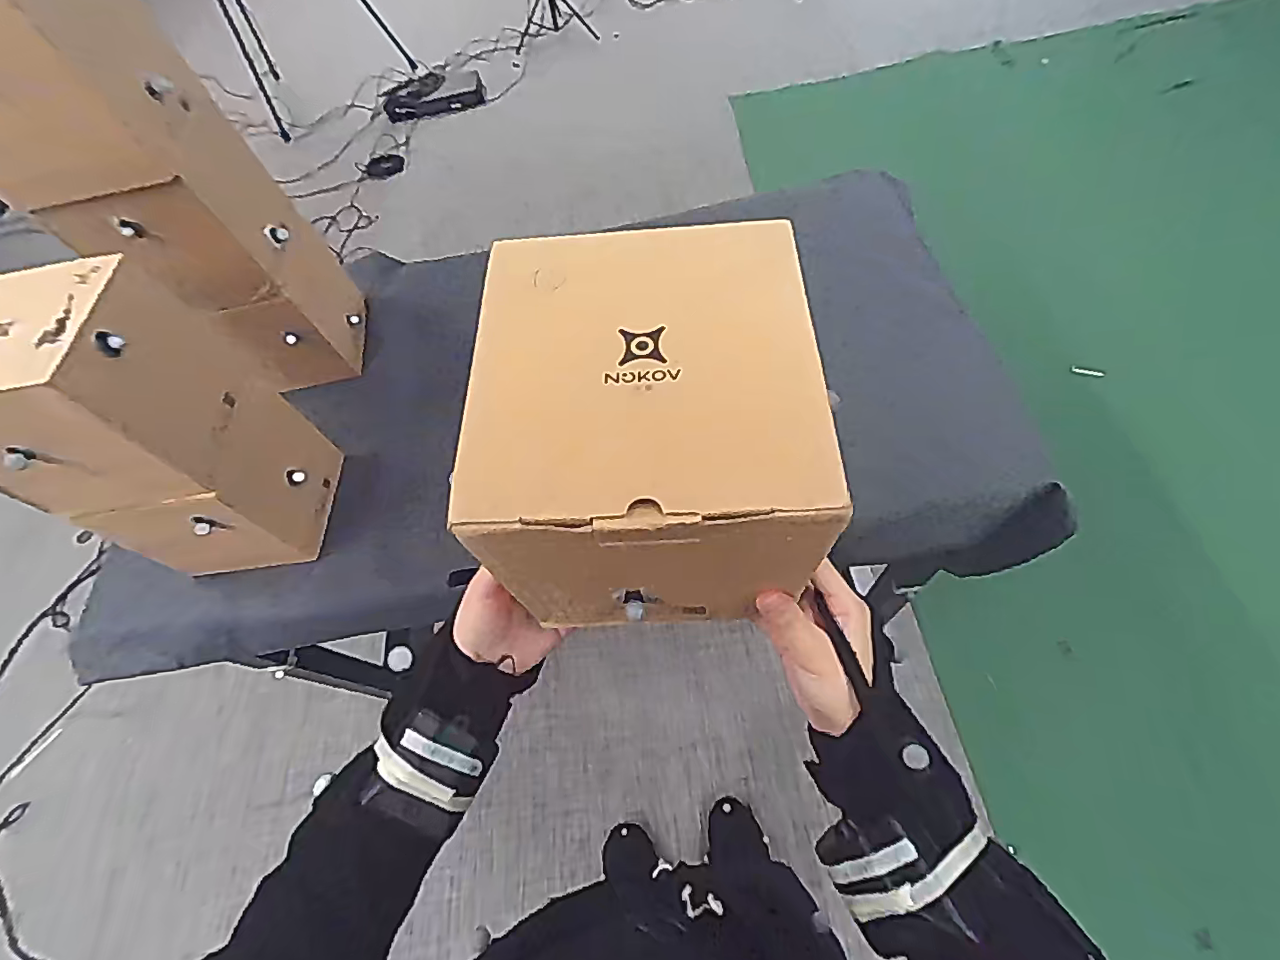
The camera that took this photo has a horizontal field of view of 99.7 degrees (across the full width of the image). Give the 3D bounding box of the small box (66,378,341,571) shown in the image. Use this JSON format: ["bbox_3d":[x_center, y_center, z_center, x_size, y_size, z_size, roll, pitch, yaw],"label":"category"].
[{"bbox_3d":[-0.508,0.001,0.666,0.179,0.176,0.168,-7,58,4],"label":"small box"}]

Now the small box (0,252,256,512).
[{"bbox_3d":[-0.533,-0.085,0.529,0.179,0.176,0.168,-11,59,3],"label":"small box"}]

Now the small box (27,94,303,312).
[{"bbox_3d":[-0.566,-0.332,0.674,0.179,0.176,0.168,-12,63,0],"label":"small box"}]

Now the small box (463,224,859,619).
[{"bbox_3d":[0.011,-0.023,0.330,0.168,0.176,0.179,-3,63,3],"label":"small box"}]

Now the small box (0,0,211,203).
[{"bbox_3d":[-0.581,-0.401,0.526,0.179,0.176,0.168,-10,63,2],"label":"small box"}]
